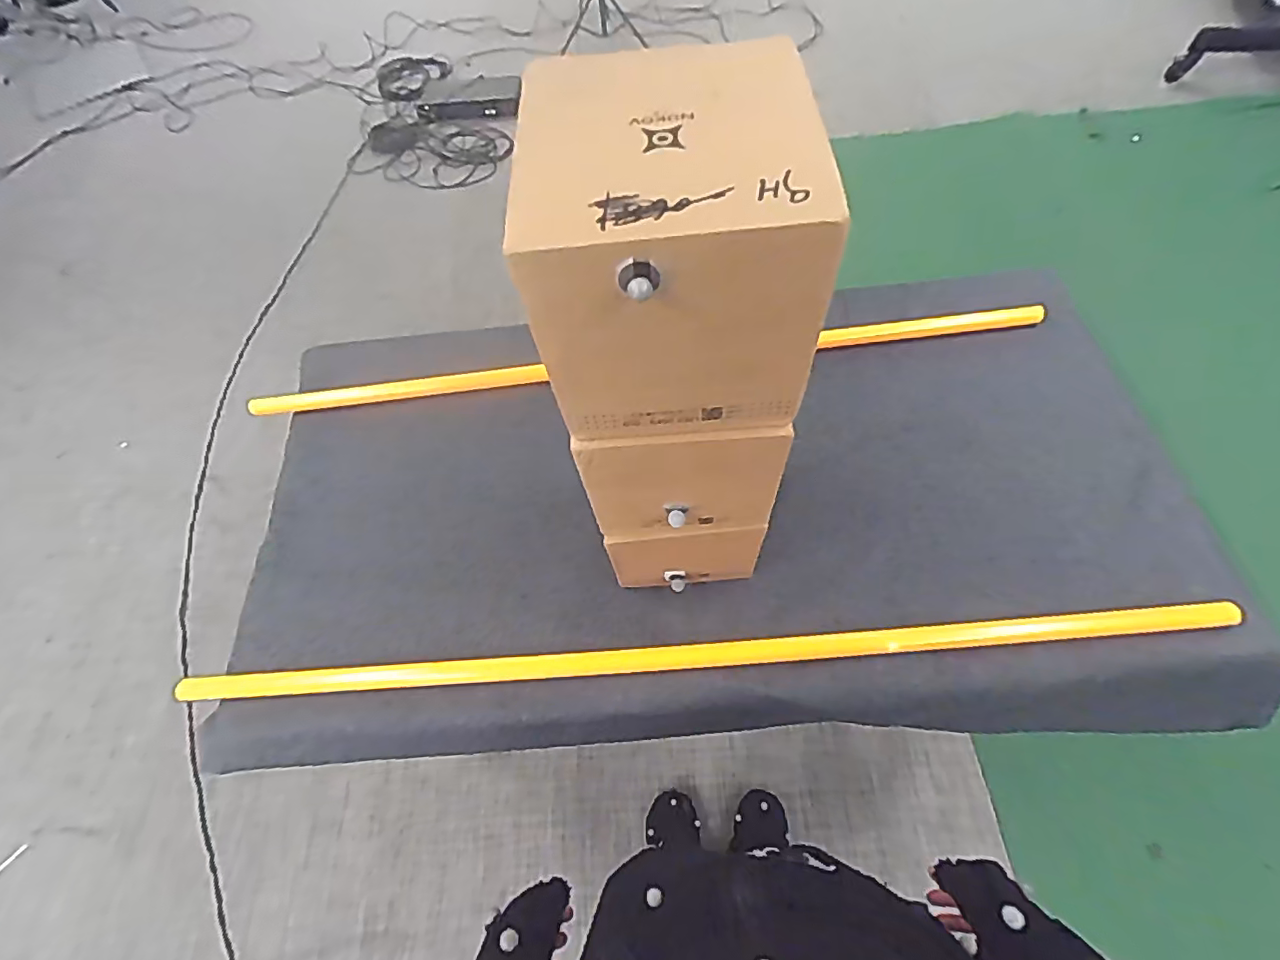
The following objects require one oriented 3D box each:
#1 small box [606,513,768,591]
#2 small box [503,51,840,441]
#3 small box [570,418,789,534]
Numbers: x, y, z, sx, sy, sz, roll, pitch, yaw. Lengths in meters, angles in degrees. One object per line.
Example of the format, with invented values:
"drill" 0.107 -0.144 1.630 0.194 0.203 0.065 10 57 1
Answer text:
"small box" 0.048 0.019 0.651 0.168 0.176 0.179 -7 63 3
"small box" 0.020 -0.147 0.369 0.168 0.176 0.179 -4 61 5
"small box" 0.035 -0.063 0.509 0.168 0.176 0.179 -4 62 4
